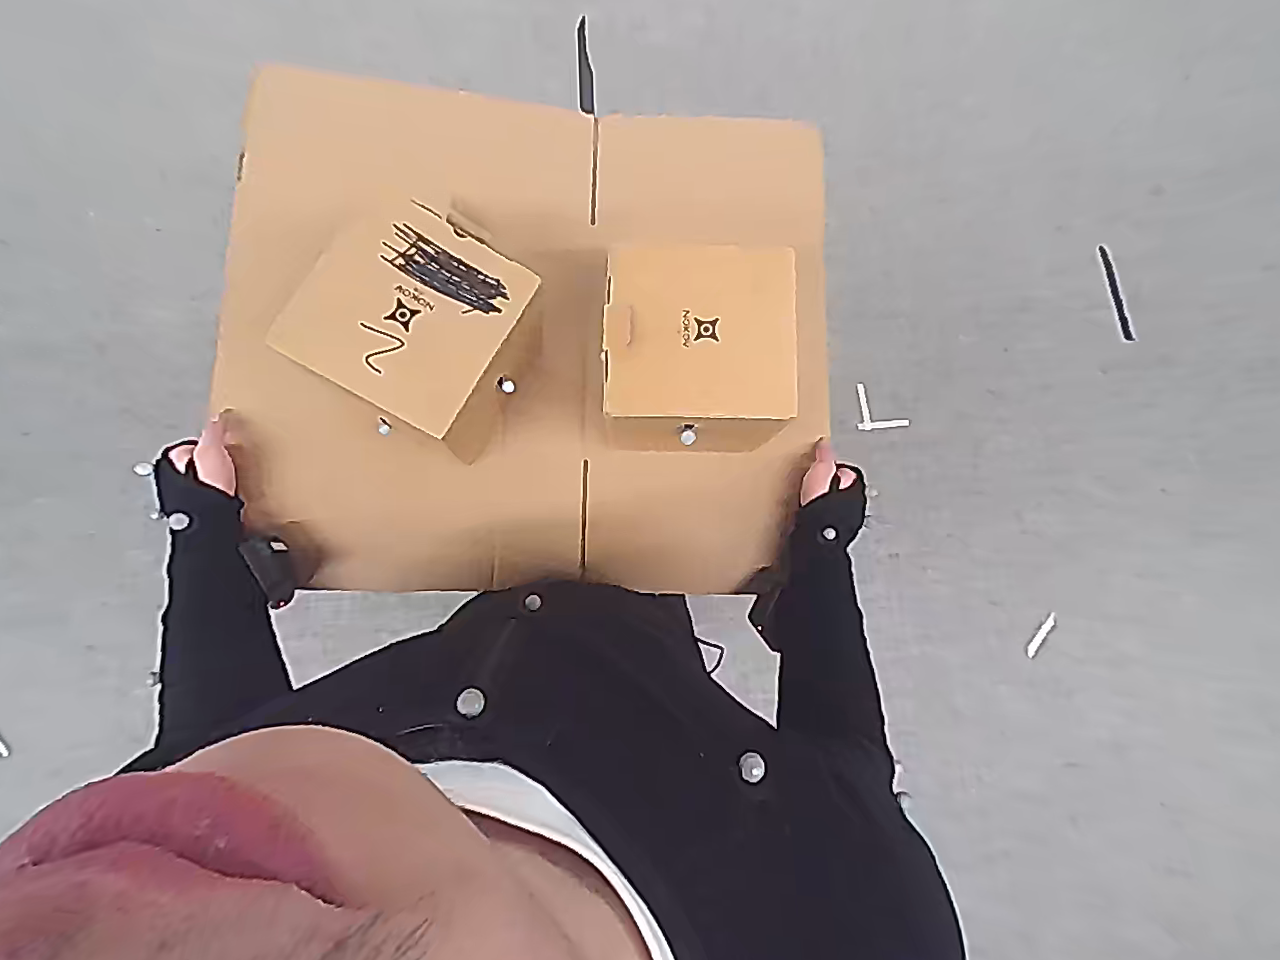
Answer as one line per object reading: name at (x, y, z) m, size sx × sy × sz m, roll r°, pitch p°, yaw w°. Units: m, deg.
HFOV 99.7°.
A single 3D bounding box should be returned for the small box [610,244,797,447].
small box at (0.059, -0.132, 0.587) m, size 0.179 × 0.176 × 0.168 m, roll 1°, pitch 82°, yaw 0°
